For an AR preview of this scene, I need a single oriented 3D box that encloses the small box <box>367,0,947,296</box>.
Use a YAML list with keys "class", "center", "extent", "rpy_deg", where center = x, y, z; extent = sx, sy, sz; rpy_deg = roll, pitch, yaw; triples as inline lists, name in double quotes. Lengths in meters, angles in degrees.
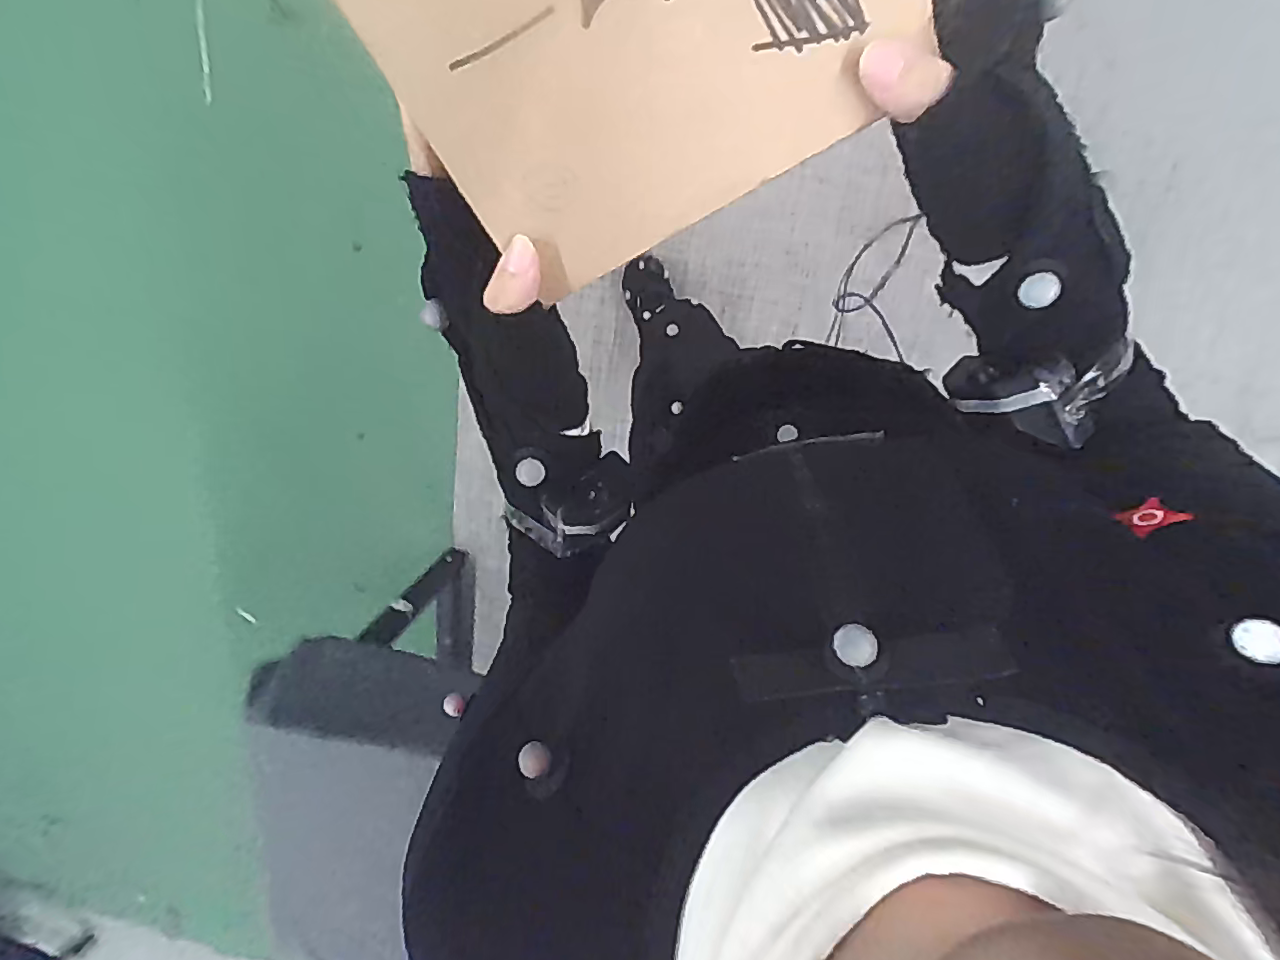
- class: "small box"
  center: [-0.004, -0.221, 0.241]
  extent: [0.179, 0.176, 0.168]
  rpy_deg: [-26, 124, 15]
